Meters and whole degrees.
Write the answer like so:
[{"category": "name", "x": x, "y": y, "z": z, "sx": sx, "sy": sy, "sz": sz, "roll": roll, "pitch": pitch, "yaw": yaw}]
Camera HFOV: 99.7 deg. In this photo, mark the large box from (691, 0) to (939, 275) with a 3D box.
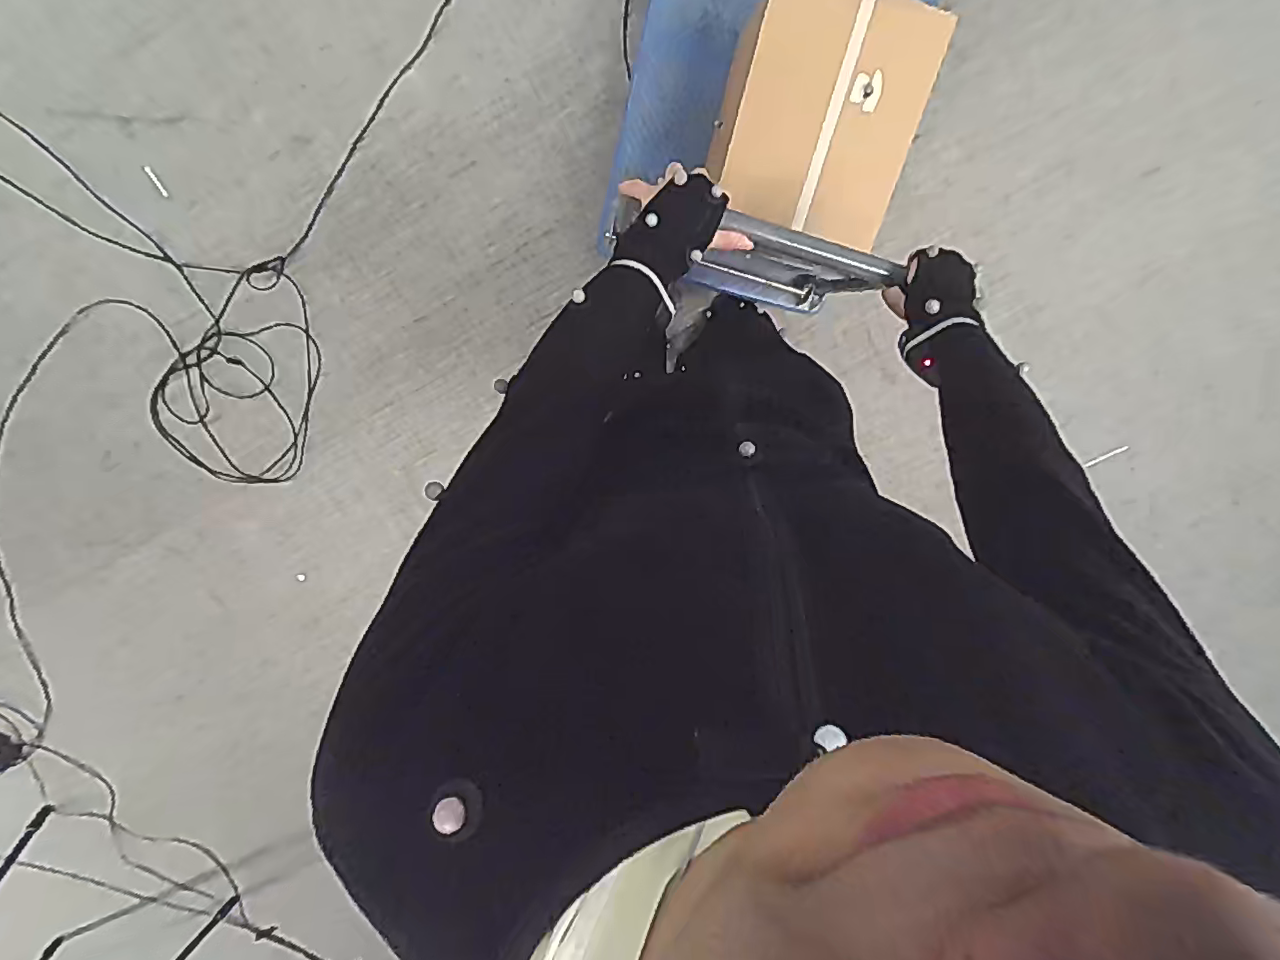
[{"category": "large box", "x": 0.312, "y": -0.661, "z": 1.101, "sx": 0.320, "sy": 0.320, "sz": 0.408, "roll": 12, "pitch": 109, "yaw": -8}]
